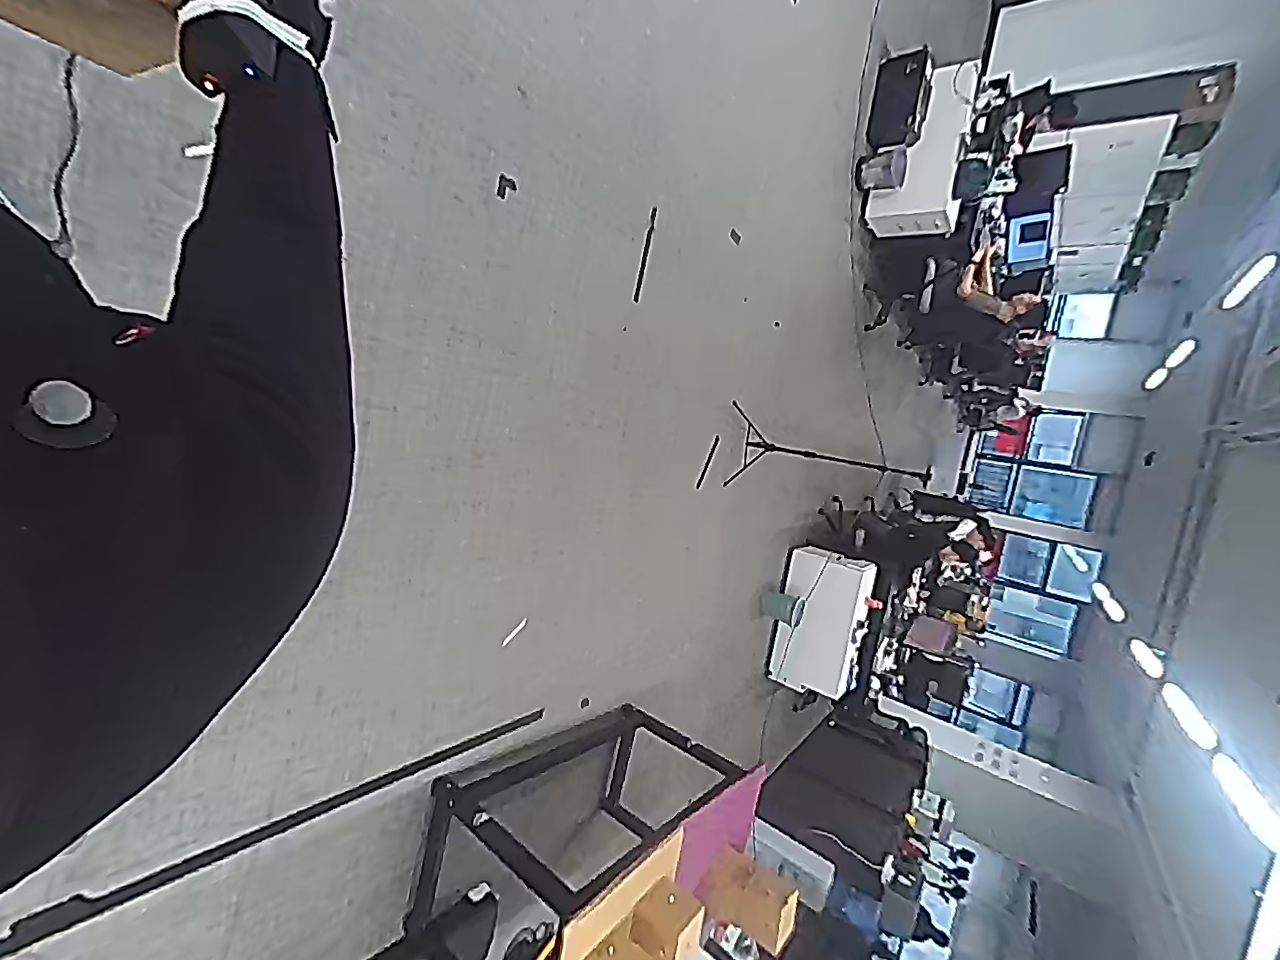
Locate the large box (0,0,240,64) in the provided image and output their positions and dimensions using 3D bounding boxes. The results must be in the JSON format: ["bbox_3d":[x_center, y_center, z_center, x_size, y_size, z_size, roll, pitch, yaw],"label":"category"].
[{"bbox_3d":[-0.512,-0.541,0.315,0.408,0.320,0.320,0,109,-56],"label":"large box"}]
